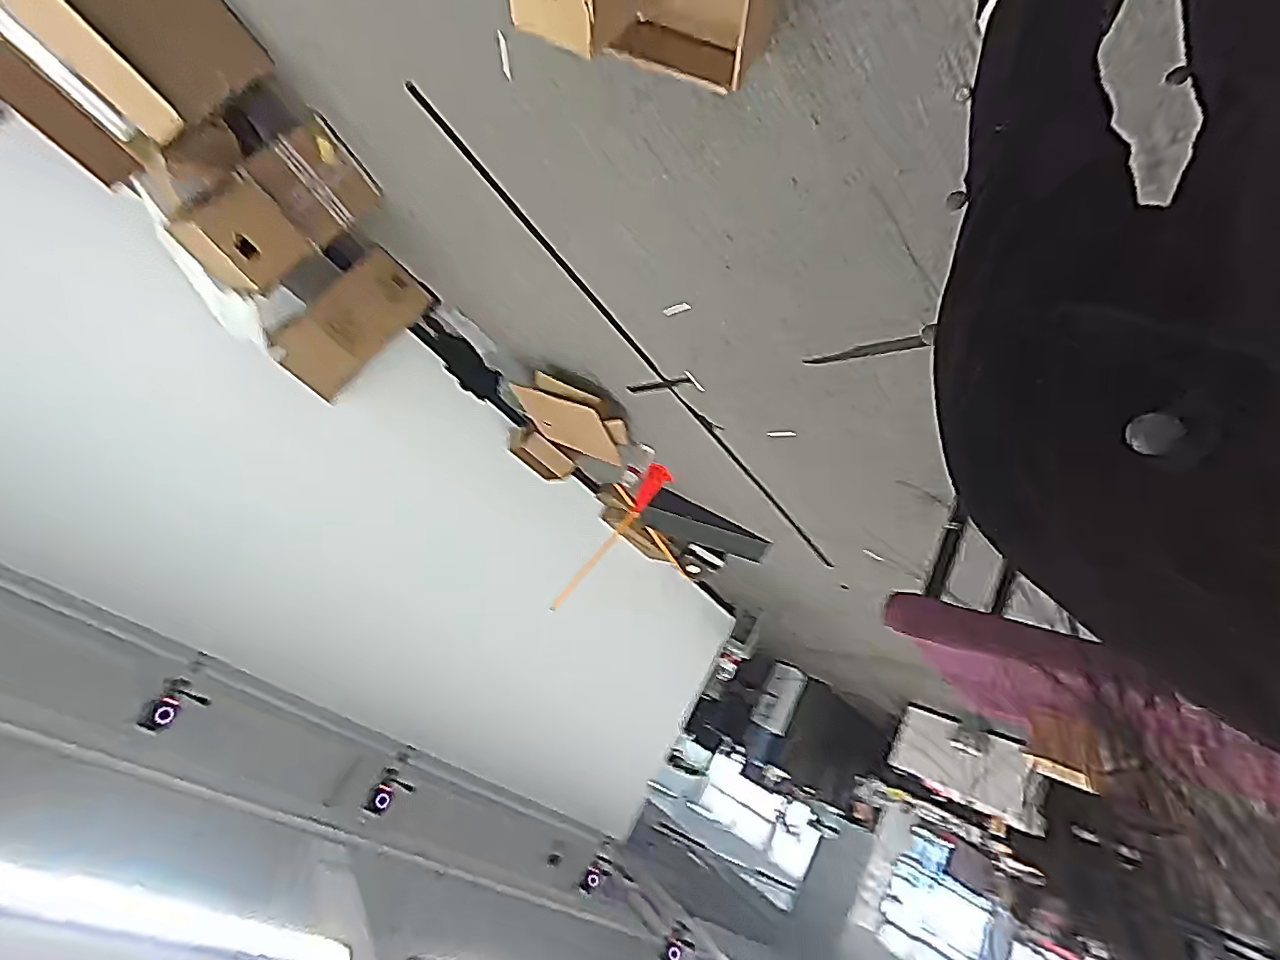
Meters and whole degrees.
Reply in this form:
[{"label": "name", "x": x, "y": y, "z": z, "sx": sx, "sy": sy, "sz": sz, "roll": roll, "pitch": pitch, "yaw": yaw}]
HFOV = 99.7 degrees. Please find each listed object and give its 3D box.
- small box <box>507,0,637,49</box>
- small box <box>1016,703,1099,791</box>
[{"label": "small box", "x": -0.116, "y": -0.894, "z": 0.921, "sx": 0.179, "sy": 0.176, "sz": 0.168, "roll": 30, "pitch": 159, "yaw": 9}, {"label": "small box", "x": 1.349, "y": 0.855, "z": 1.743, "sx": 0.179, "sy": 0.176, "sz": 0.168, "roll": 46, "pitch": 155, "yaw": -29}]
